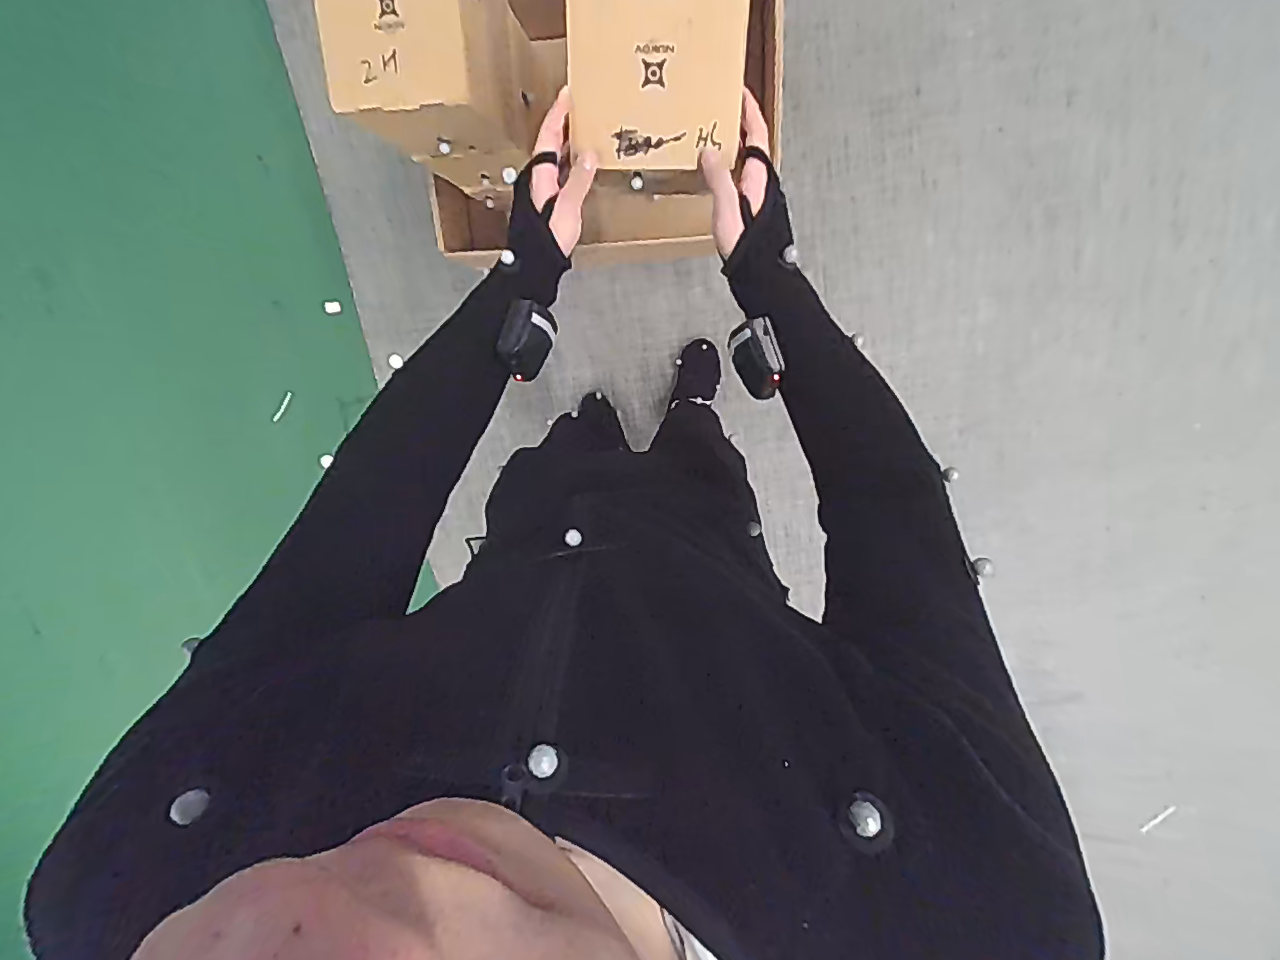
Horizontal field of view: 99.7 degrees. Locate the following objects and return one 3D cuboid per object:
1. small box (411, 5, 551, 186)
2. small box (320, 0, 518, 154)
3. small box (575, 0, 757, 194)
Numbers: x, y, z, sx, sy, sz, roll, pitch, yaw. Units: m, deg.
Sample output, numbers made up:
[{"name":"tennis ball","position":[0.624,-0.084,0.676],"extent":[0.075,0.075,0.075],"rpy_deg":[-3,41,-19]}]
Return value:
[{"name":"small box","position":[-0.238,-0.564,0.818],"extent":[0.168,0.176,0.179],"rpy_deg":[0,106,6]},{"name":"small box","position":[-0.257,-0.523,0.659],"extent":[0.168,0.176,0.179],"rpy_deg":[1,106,7]},{"name":"small box","position":[0.027,-0.416,0.572],"extent":[0.168,0.176,0.179],"rpy_deg":[4,111,5]}]
